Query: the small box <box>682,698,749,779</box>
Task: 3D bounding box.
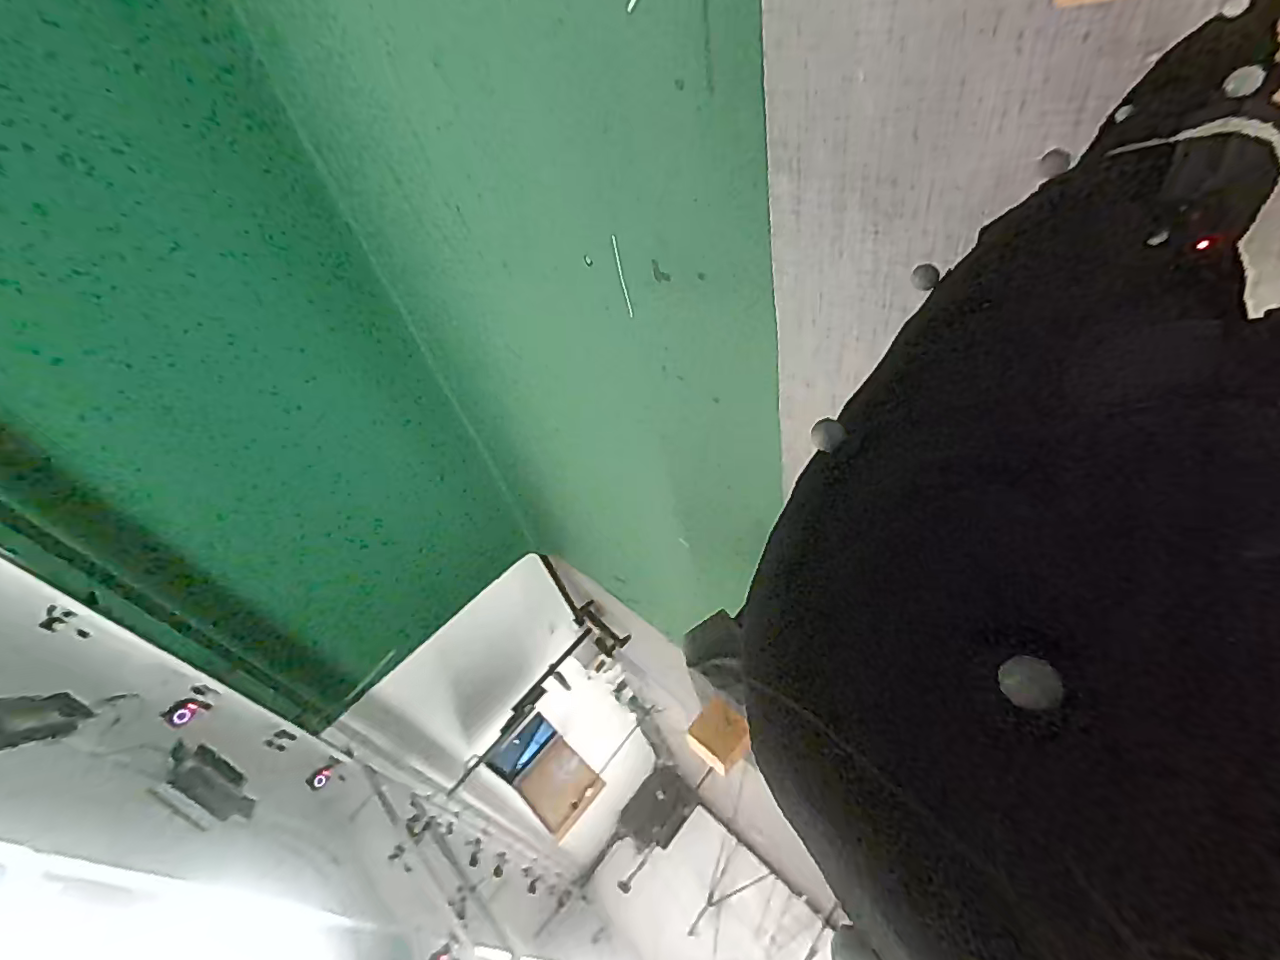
[{"bbox_3d":[0.270,0.909,1.905,0.168,0.176,0.179,31,150,33],"label":"small box"}]
